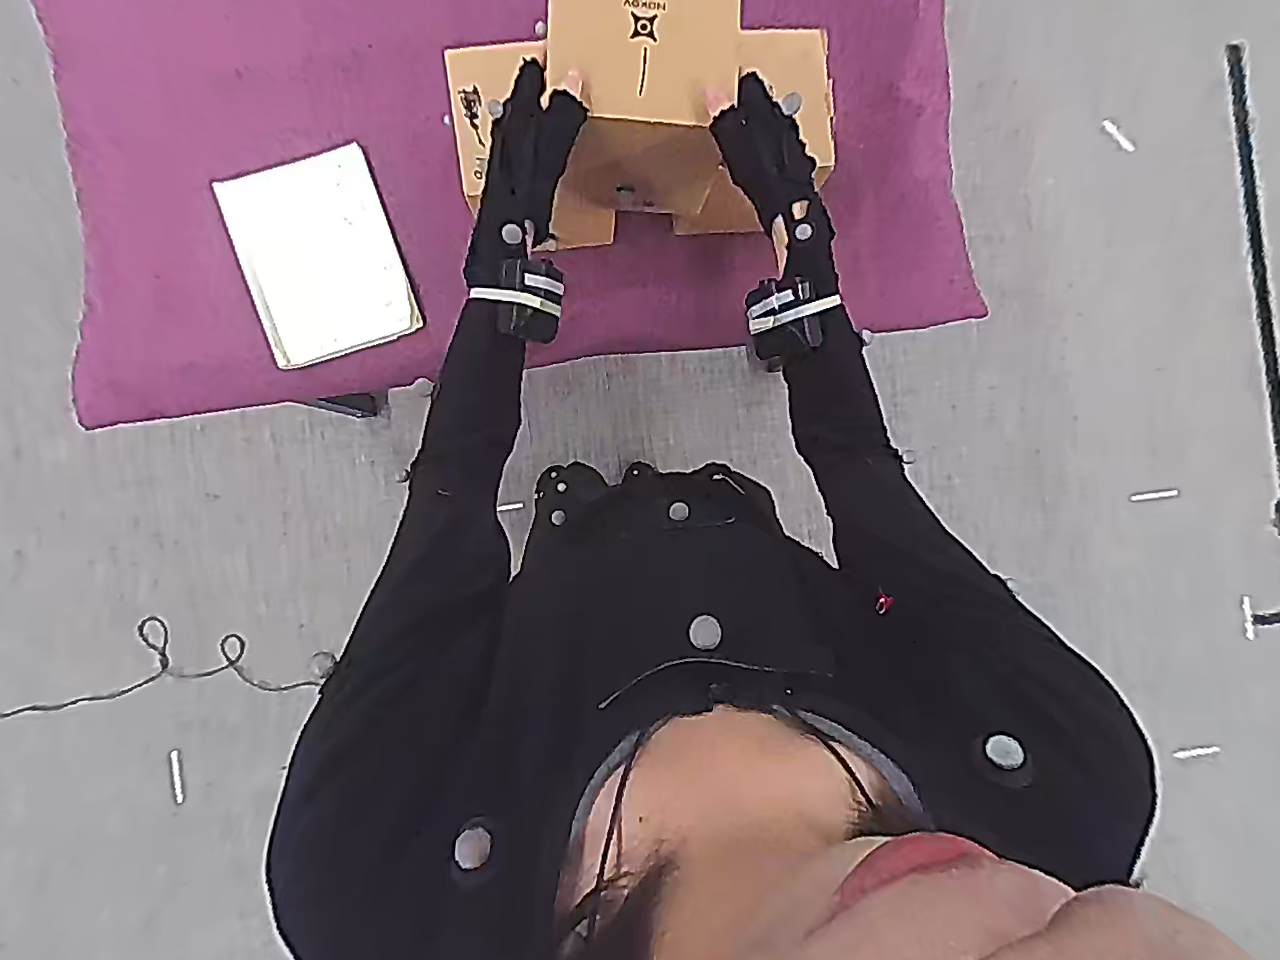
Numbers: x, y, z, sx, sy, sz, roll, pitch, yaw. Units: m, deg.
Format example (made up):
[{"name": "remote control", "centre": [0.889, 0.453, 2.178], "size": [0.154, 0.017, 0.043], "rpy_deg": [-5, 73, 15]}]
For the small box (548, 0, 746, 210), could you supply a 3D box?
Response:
[{"name": "small box", "centre": [0.000, -0.394, 0.526], "size": [0.168, 0.176, 0.179], "rpy_deg": [2, 93, -5]}]

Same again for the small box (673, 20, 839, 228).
[{"name": "small box", "centre": [0.137, -0.446, 0.702], "size": [0.179, 0.176, 0.168], "rpy_deg": [-3, 90, -2]}]

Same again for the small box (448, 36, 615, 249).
[{"name": "small box", "centre": [-0.125, -0.411, 0.682], "size": [0.179, 0.176, 0.168], "rpy_deg": [-8, 90, -5]}]
